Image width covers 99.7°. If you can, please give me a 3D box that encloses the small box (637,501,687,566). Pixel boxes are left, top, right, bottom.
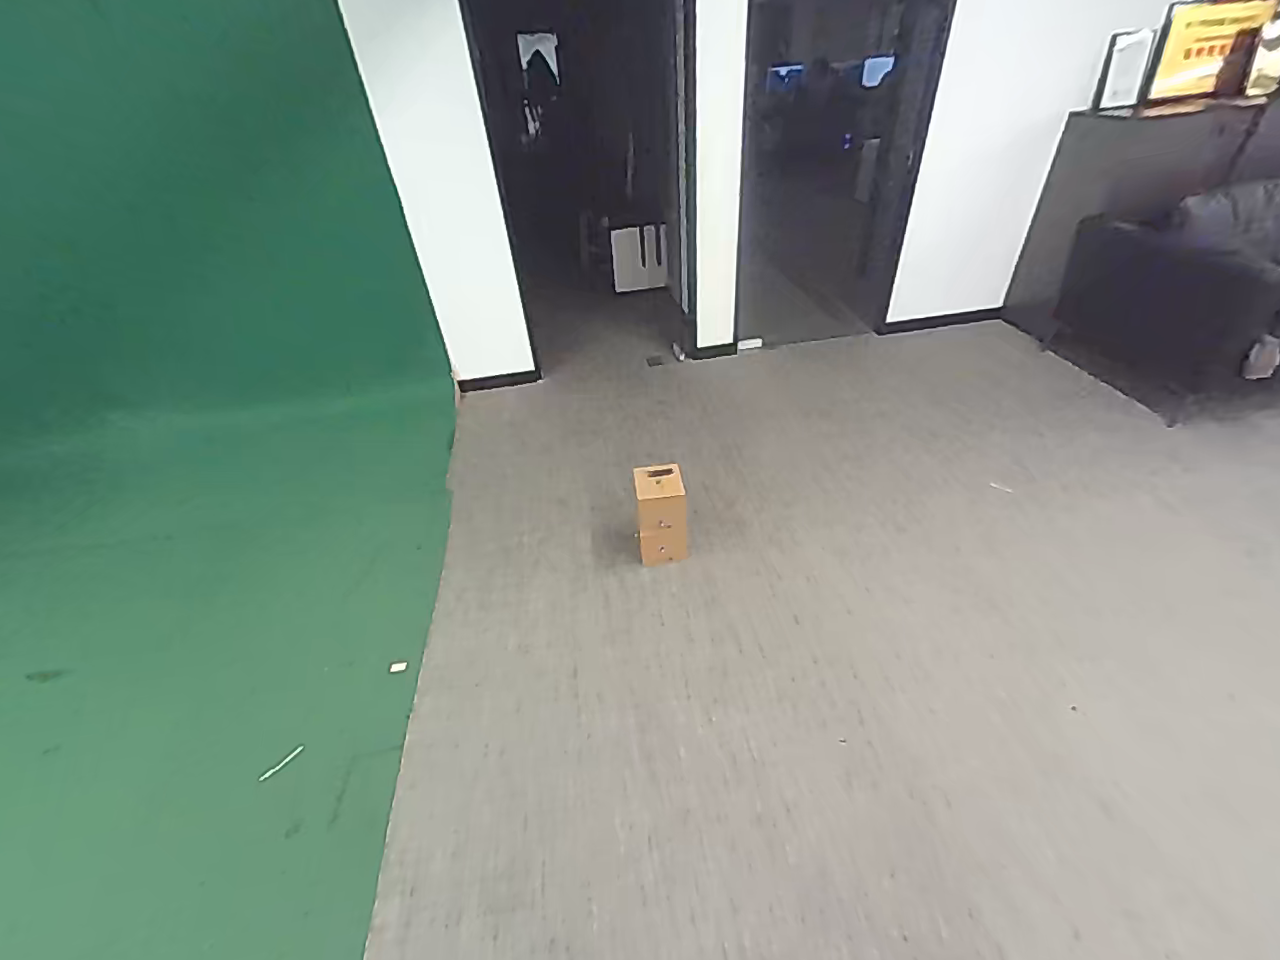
[{"bbox_3d":[0.084,0.207,2.038,0.168,0.176,0.179,-7,39,-4],"label":"small box"}]
